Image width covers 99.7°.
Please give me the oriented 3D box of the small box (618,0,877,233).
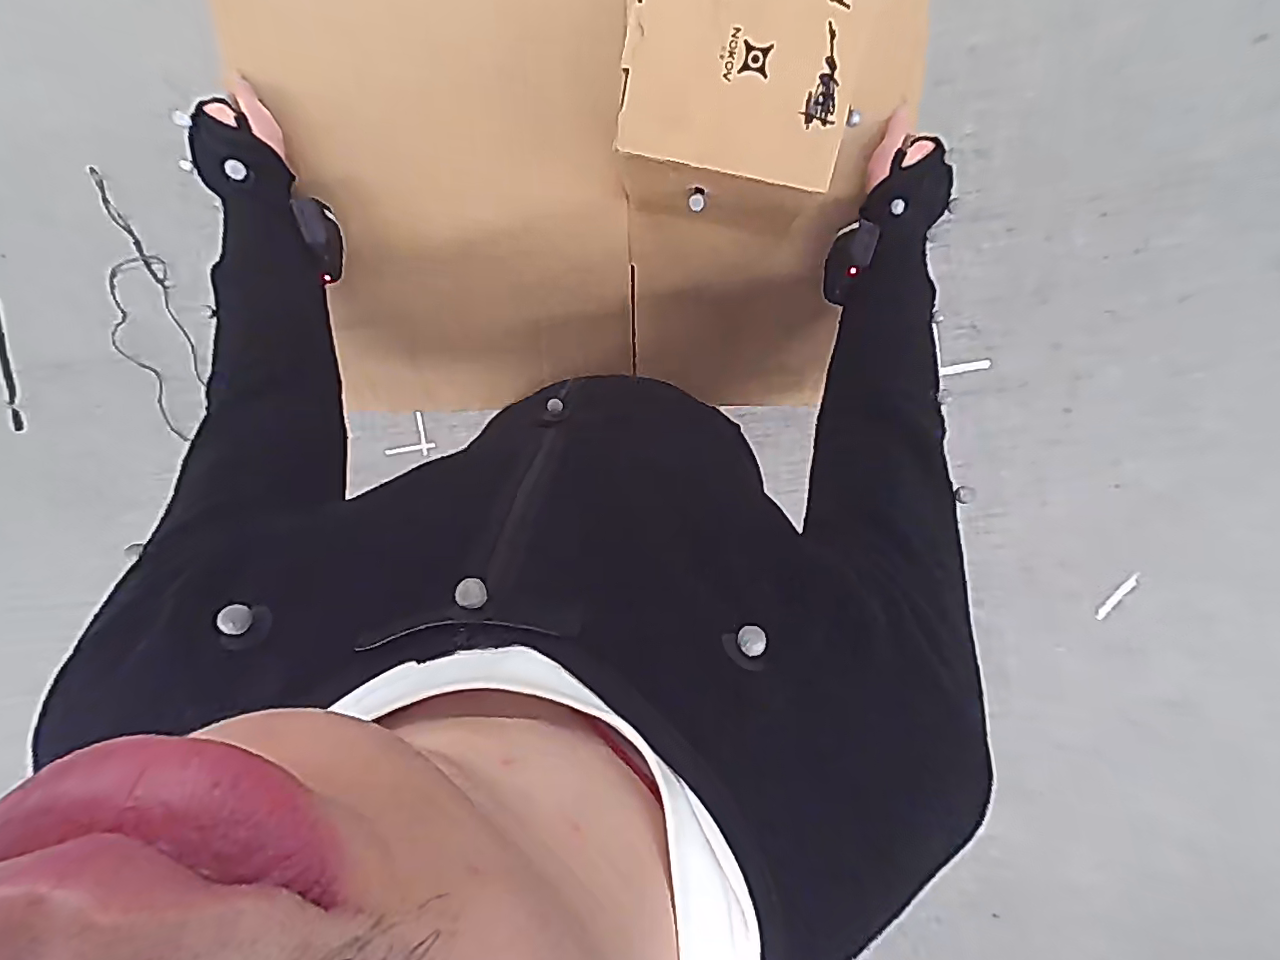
[{"bbox_3d":[0.090,-0.343,0.496,0.179,0.176,0.168,13,103,3],"label":"small box"}]
